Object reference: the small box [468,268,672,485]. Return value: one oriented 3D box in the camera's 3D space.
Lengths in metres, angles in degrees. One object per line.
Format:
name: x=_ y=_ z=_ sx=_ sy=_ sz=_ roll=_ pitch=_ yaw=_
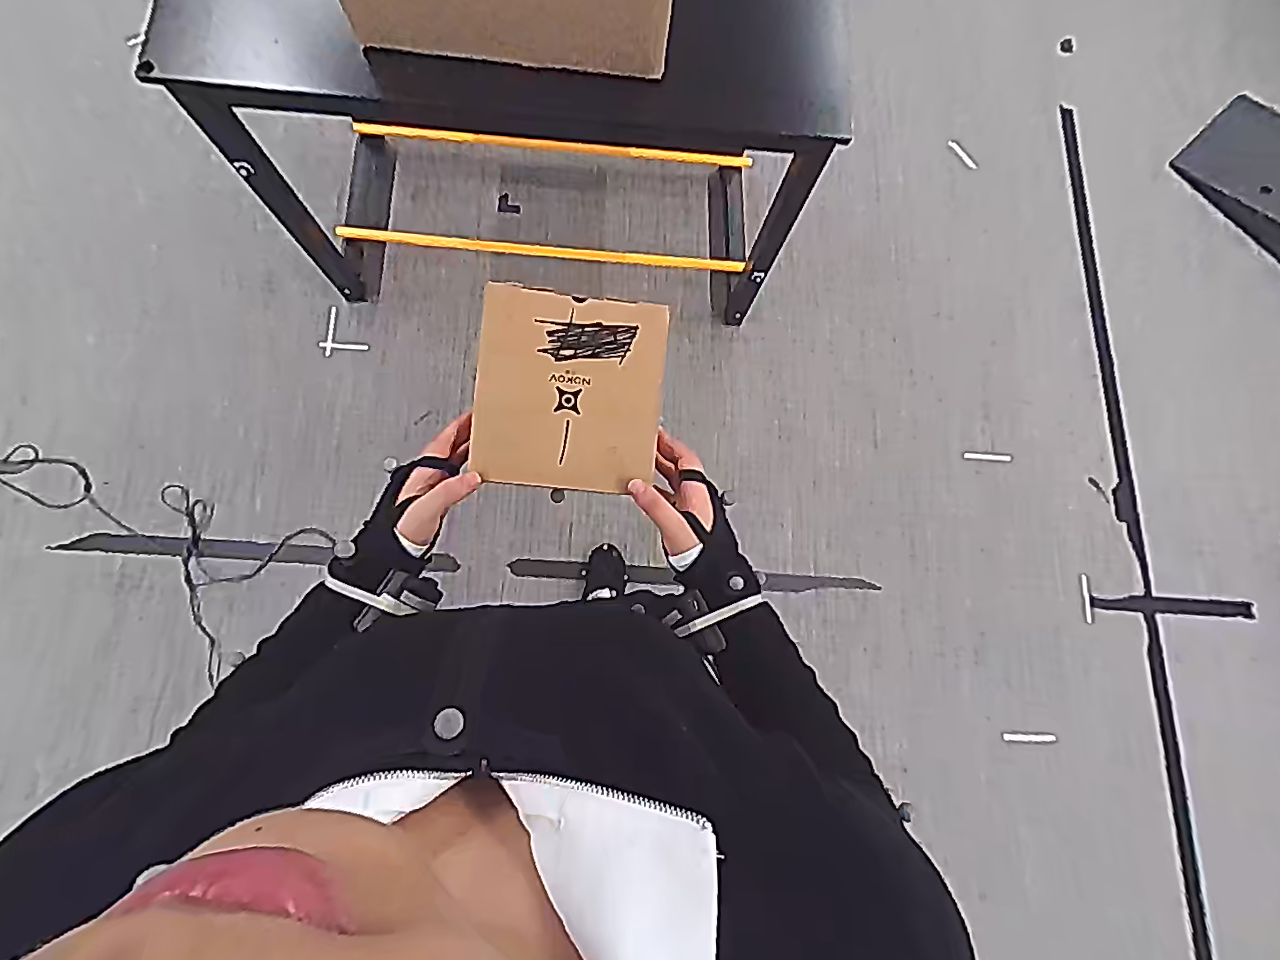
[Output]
small box: x=-0.069 y=-0.089 z=0.550 sx=0.168 sy=0.176 sz=0.179 roll=5 pitch=90 yaw=-6
